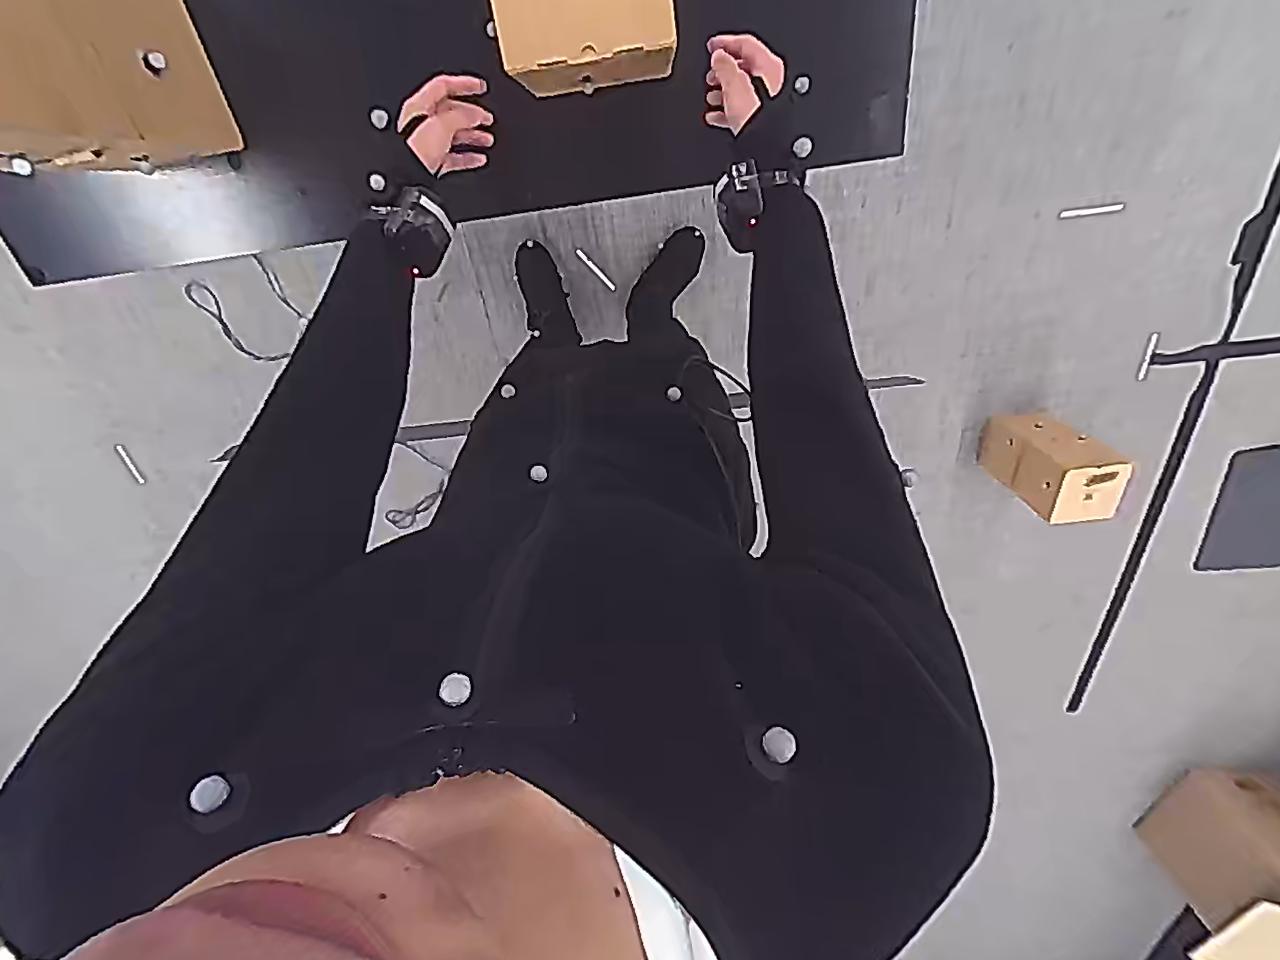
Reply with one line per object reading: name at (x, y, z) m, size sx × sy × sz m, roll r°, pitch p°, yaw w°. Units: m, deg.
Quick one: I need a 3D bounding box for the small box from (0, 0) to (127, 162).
small box at (-0.586, -0.362, 0.423) m, size 0.168 × 0.176 × 0.179 m, roll -7°, pitch 120°, yaw 5°

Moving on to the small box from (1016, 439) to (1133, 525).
small box at (1.162, -0.002, 1.465) m, size 0.168 × 0.176 × 0.179 m, roll -6°, pitch 121°, yaw 3°

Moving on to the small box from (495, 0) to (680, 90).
small box at (-0.055, -0.509, 0.530) m, size 0.168 × 0.176 × 0.179 m, roll -7°, pitch 120°, yaw 4°

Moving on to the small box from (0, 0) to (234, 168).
small box at (-0.586, -0.442, 0.567) m, size 0.168 × 0.176 × 0.179 m, roll -8°, pitch 120°, yaw 4°
